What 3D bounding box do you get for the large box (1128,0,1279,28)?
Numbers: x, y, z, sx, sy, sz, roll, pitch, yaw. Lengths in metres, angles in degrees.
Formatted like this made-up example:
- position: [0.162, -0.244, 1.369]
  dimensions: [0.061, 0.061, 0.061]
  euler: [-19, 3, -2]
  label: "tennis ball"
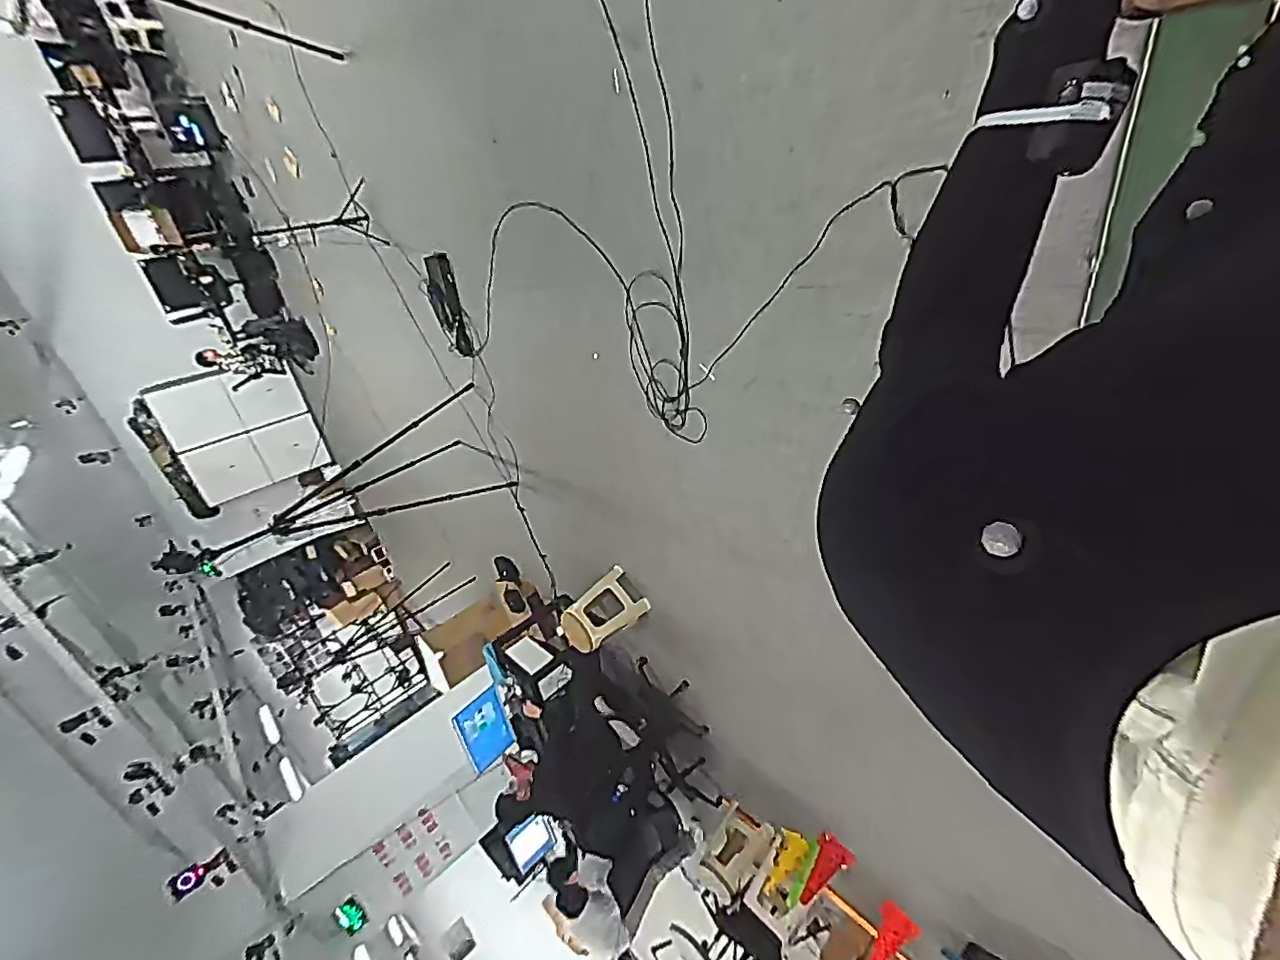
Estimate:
- position: [0.554, -0.474, 0.258]
  dimensions: [0.408, 0.320, 0.320]
  euler: [19, 132, 43]
  label: "large box"
